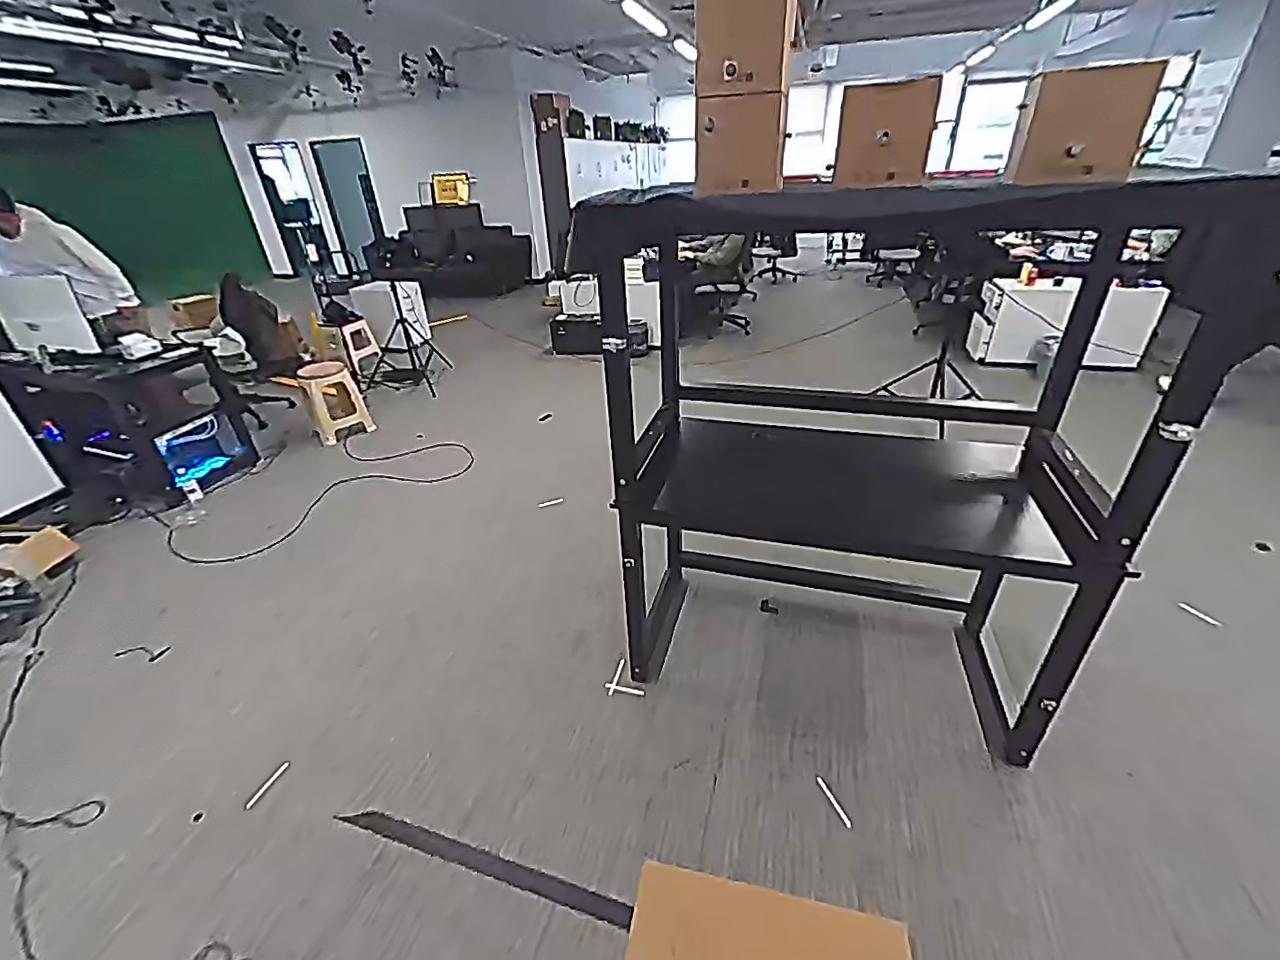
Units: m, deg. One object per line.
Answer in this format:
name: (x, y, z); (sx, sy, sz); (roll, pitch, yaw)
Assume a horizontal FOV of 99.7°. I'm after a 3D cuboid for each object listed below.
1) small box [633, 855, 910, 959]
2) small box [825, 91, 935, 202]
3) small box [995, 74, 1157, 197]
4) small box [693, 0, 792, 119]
small box: (0.070, 0.379, 0.331); (0.168, 0.176, 0.179); (5, 35, 13)
small box: (0.460, -0.643, 1.057); (0.168, 0.176, 0.179); (8, 30, 16)
small box: (0.758, -0.605, 0.967); (0.168, 0.176, 0.179); (9, 32, 21)
small box: (0.199, -0.814, 1.053); (0.168, 0.176, 0.179); (6, 30, 16)
